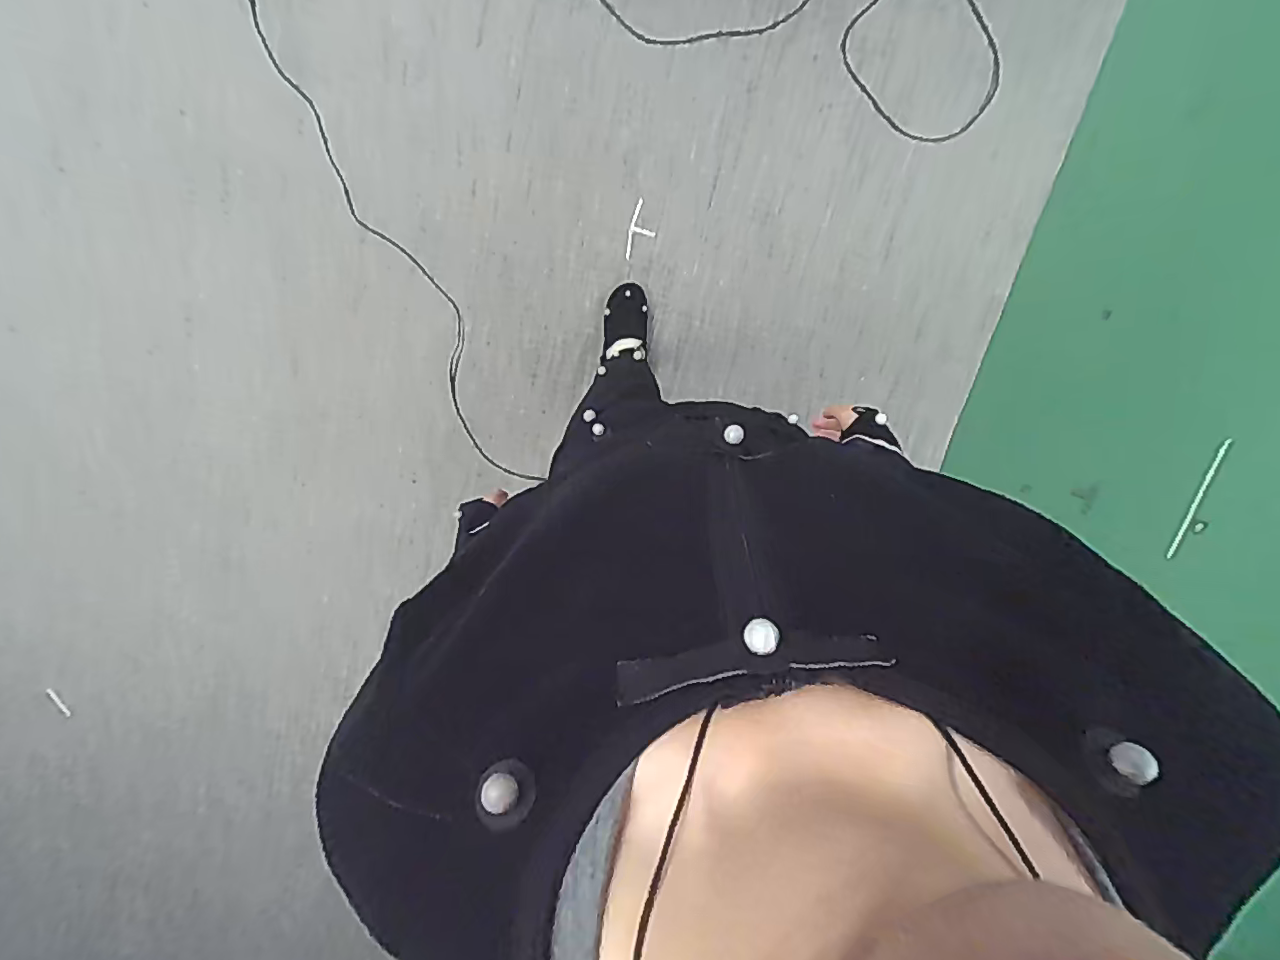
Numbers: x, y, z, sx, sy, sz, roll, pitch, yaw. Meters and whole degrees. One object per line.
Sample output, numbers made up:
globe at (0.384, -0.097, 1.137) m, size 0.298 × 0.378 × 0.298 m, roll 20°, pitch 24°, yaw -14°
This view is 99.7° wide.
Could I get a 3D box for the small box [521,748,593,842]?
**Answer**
small box at (-0.240, 0.927, 1.603) m, size 0.179 × 0.176 × 0.168 m, roll 10°, pitch 102°, yaw -5°
